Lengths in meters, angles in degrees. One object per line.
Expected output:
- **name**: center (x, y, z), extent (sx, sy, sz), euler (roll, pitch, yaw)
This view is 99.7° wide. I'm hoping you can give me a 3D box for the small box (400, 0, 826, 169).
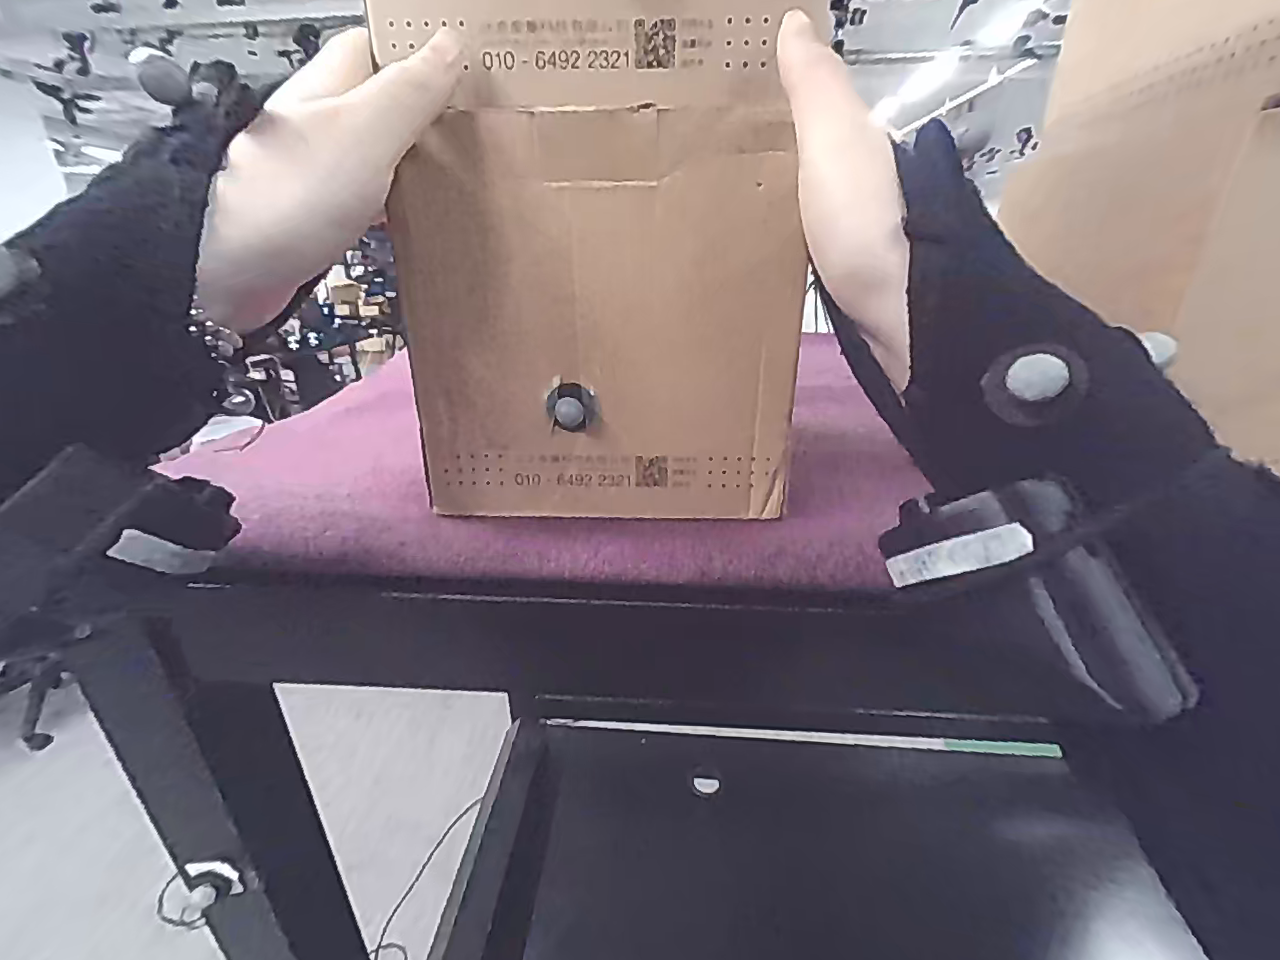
- **small box**: center (-0.011, -0.252, 0.253), extent (0.168, 0.176, 0.179), euler (0, 22, 1)
